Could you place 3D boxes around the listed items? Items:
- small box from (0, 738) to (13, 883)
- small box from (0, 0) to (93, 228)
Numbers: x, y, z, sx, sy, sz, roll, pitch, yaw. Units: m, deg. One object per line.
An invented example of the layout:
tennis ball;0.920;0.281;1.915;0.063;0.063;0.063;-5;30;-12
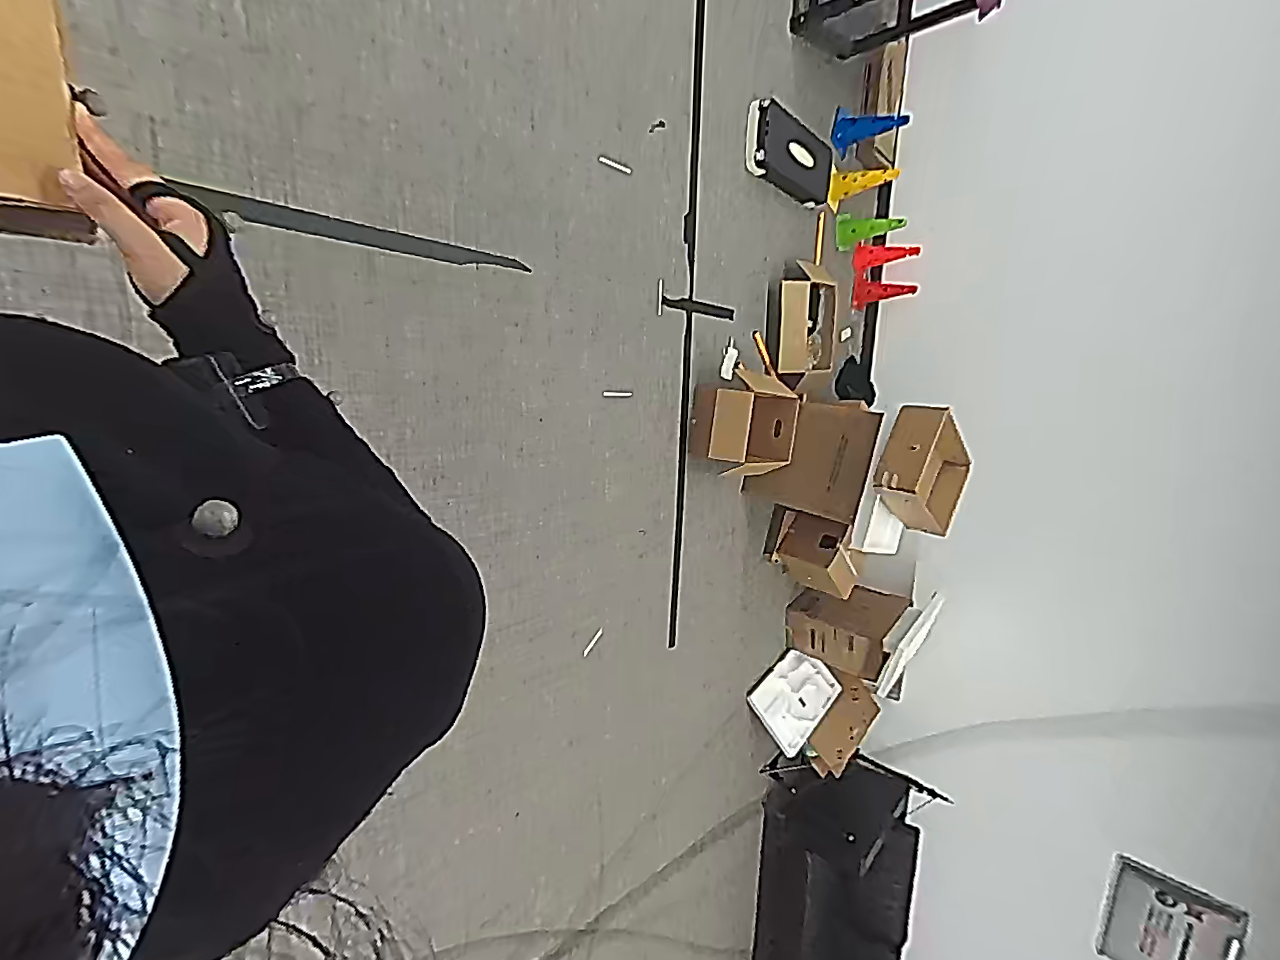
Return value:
small box;-1.096;0.533;0.831;0.168;0.176;0.179;-4;101;-48
small box;-0.474;-0.274;0.340;0.168;0.176;0.179;-9;109;-43
